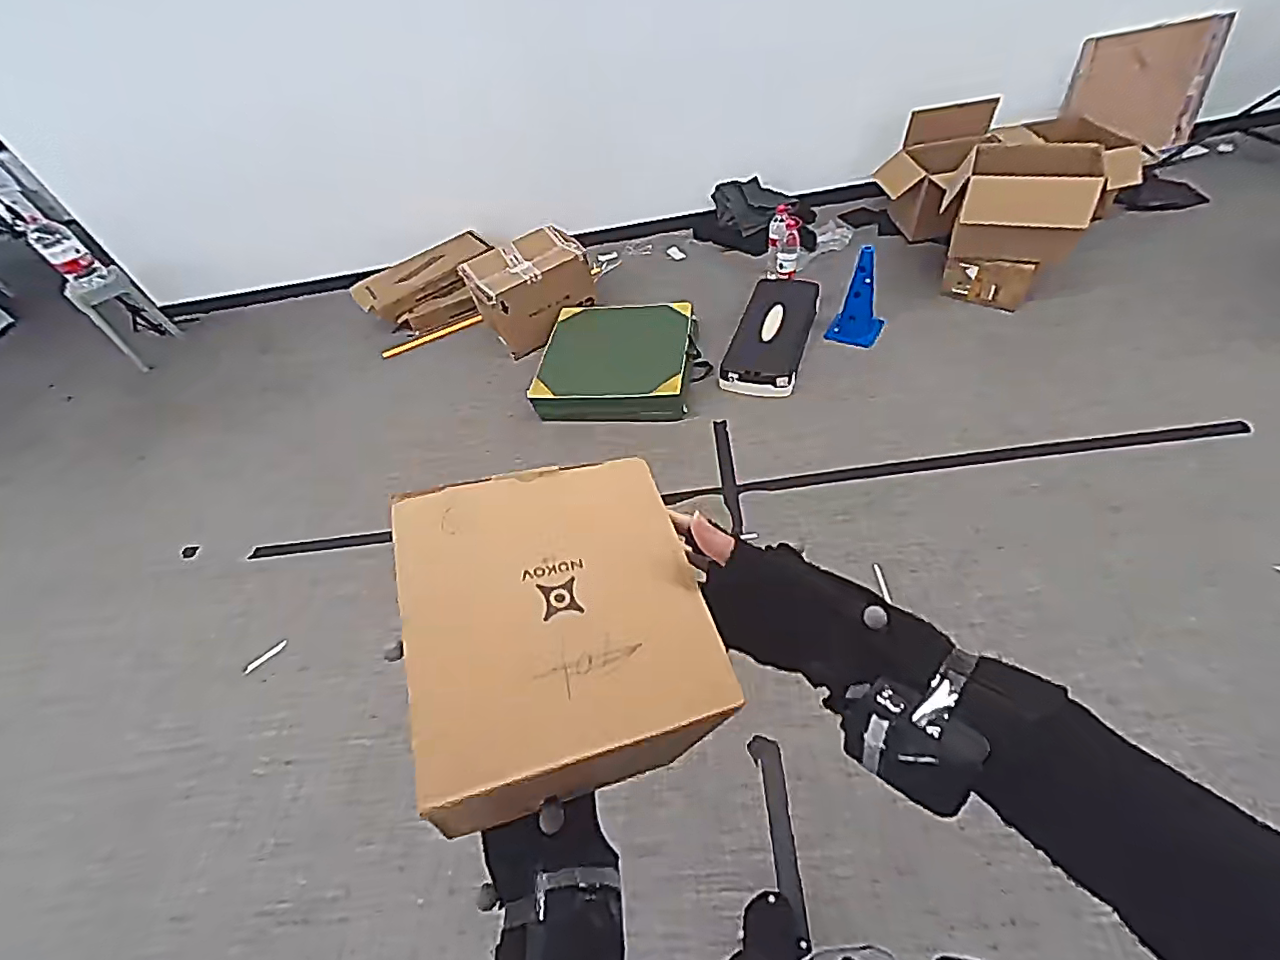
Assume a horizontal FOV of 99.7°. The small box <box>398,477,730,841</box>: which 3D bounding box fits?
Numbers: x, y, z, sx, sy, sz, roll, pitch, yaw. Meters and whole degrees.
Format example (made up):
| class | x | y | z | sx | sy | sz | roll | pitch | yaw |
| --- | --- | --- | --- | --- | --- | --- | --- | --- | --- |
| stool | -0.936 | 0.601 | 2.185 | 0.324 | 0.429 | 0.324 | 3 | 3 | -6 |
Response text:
| class | x | y | z | sx | sy | sz | roll | pitch | yaw |
| --- | --- | --- | --- | --- | --- | --- | --- | --- | --- |
| small box | -0.066 | 0.124 | 0.381 | 0.168 | 0.176 | 0.179 | -9 | 56 | -19 |
